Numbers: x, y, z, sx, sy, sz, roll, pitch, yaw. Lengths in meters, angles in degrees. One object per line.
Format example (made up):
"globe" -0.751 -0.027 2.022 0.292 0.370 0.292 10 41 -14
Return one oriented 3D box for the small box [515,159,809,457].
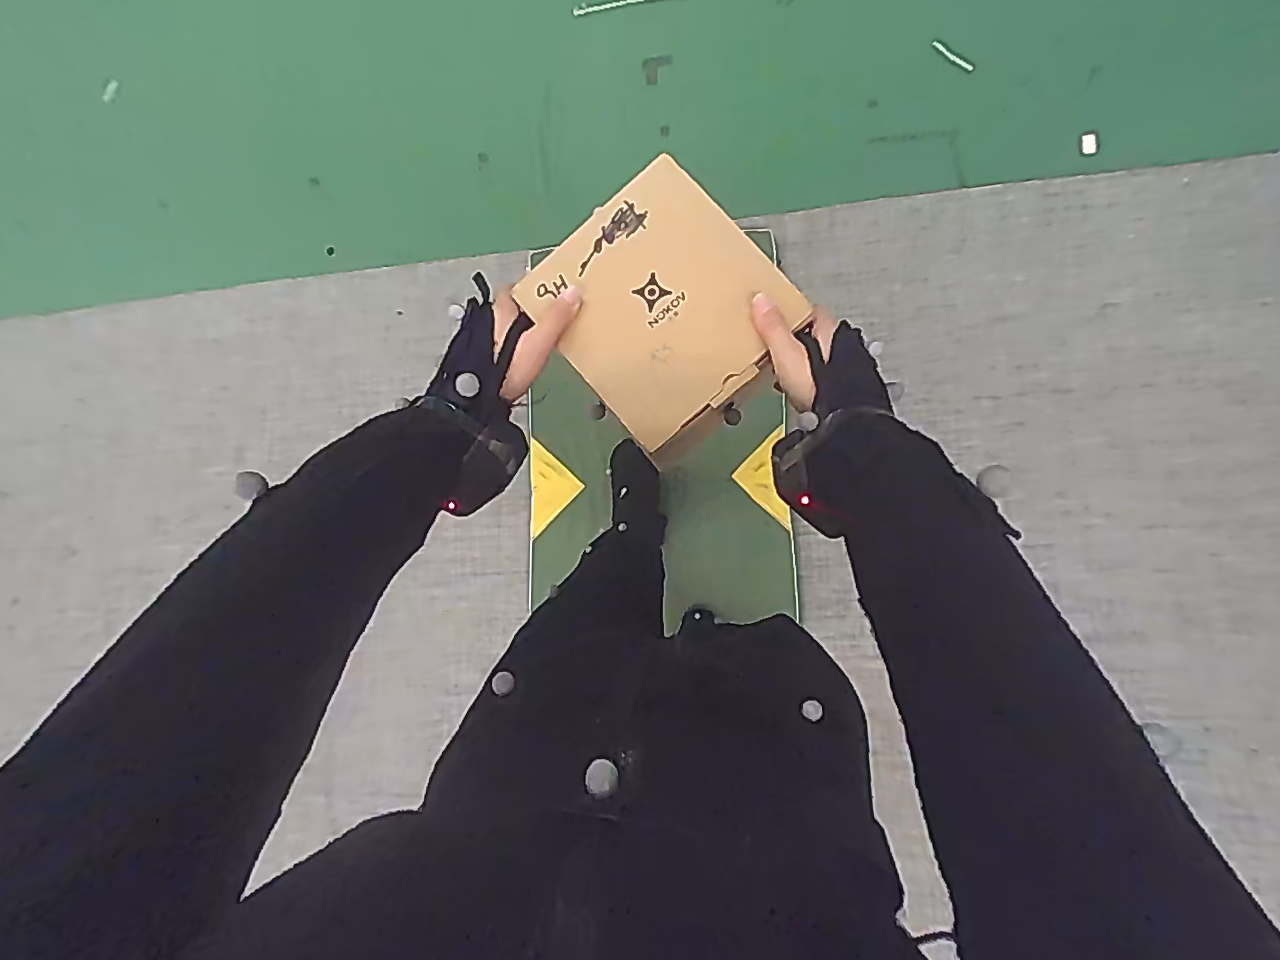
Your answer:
"small box" 0.022 -0.134 0.499 0.168 0.176 0.179 -41 84 1
